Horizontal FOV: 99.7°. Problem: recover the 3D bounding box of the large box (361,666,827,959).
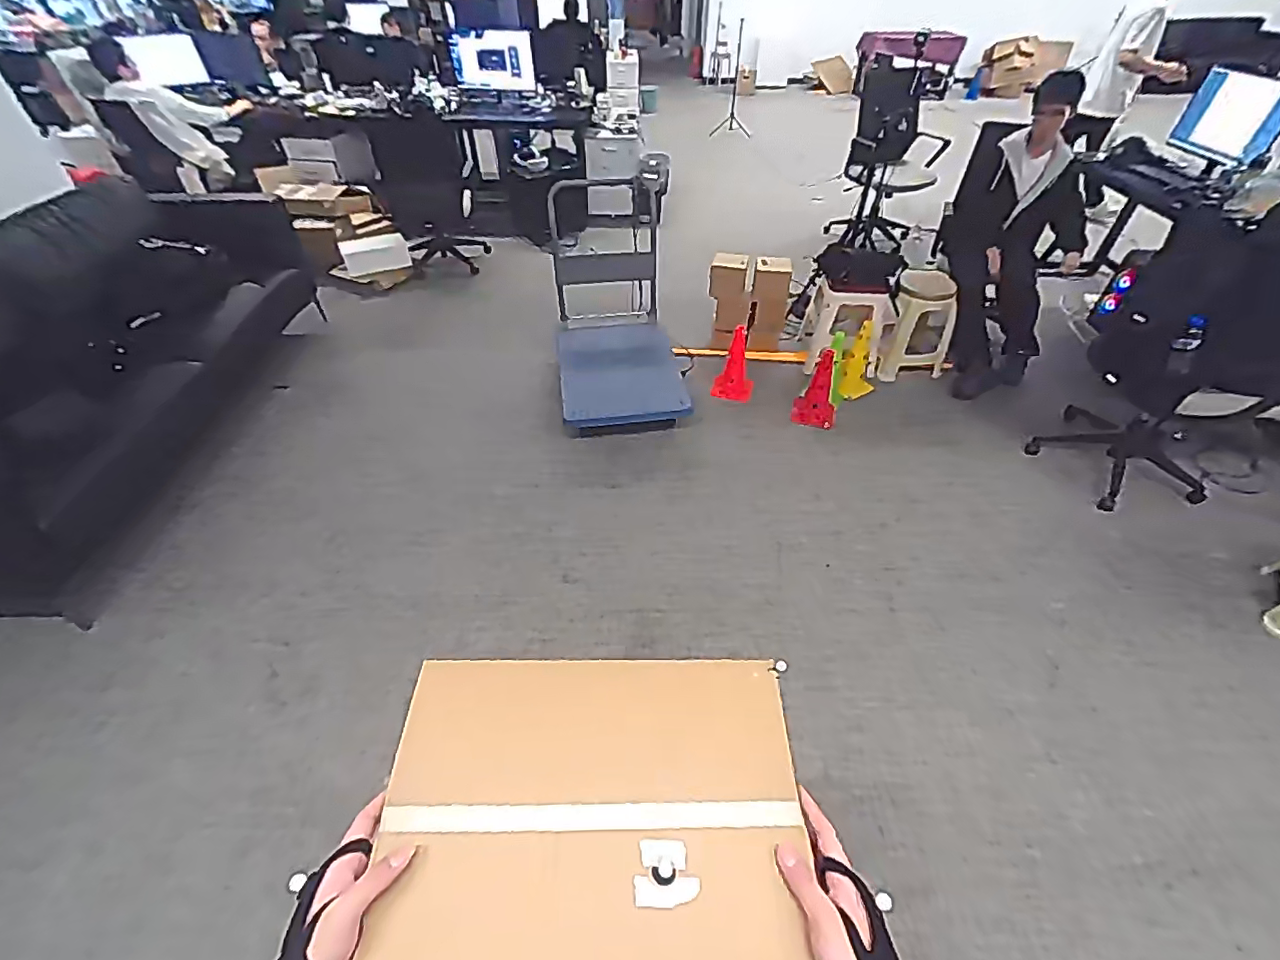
[{"bbox_3d":[-0.046,0.434,0.638,0.408,0.320,0.320,1,48,-2],"label":"large box"}]
